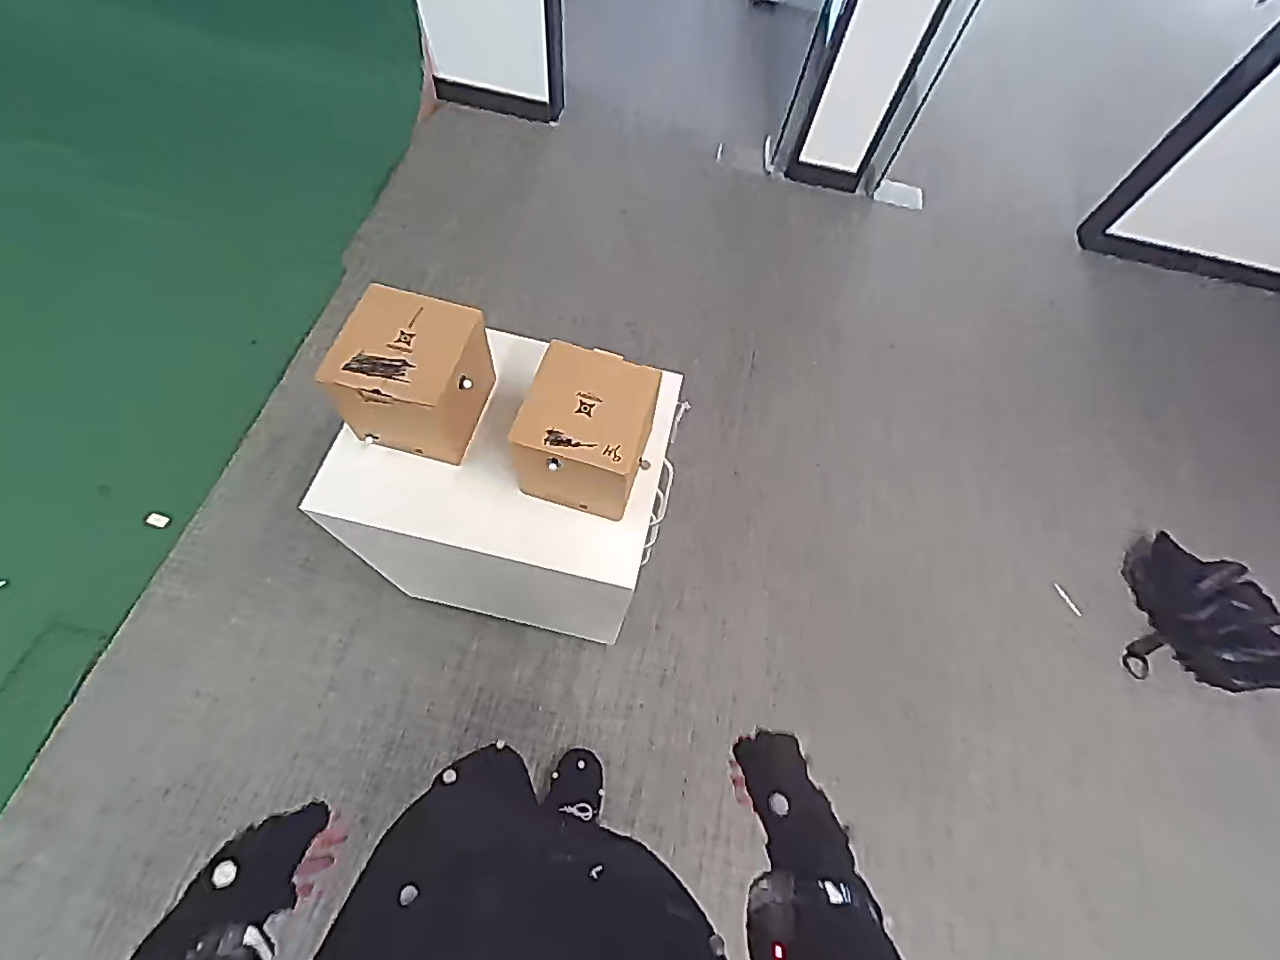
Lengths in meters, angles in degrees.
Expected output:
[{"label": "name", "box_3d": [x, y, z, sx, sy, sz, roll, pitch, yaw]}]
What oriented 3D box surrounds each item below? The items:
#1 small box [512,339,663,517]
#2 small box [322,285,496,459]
[{"label": "small box", "box_3d": [-0.074, -0.071, 0.803, 0.168, 0.176, 0.179, 16, 64, 3]}, {"label": "small box", "box_3d": [-0.330, -0.154, 0.817, 0.168, 0.176, 0.179, 14, 64, 0]}]
